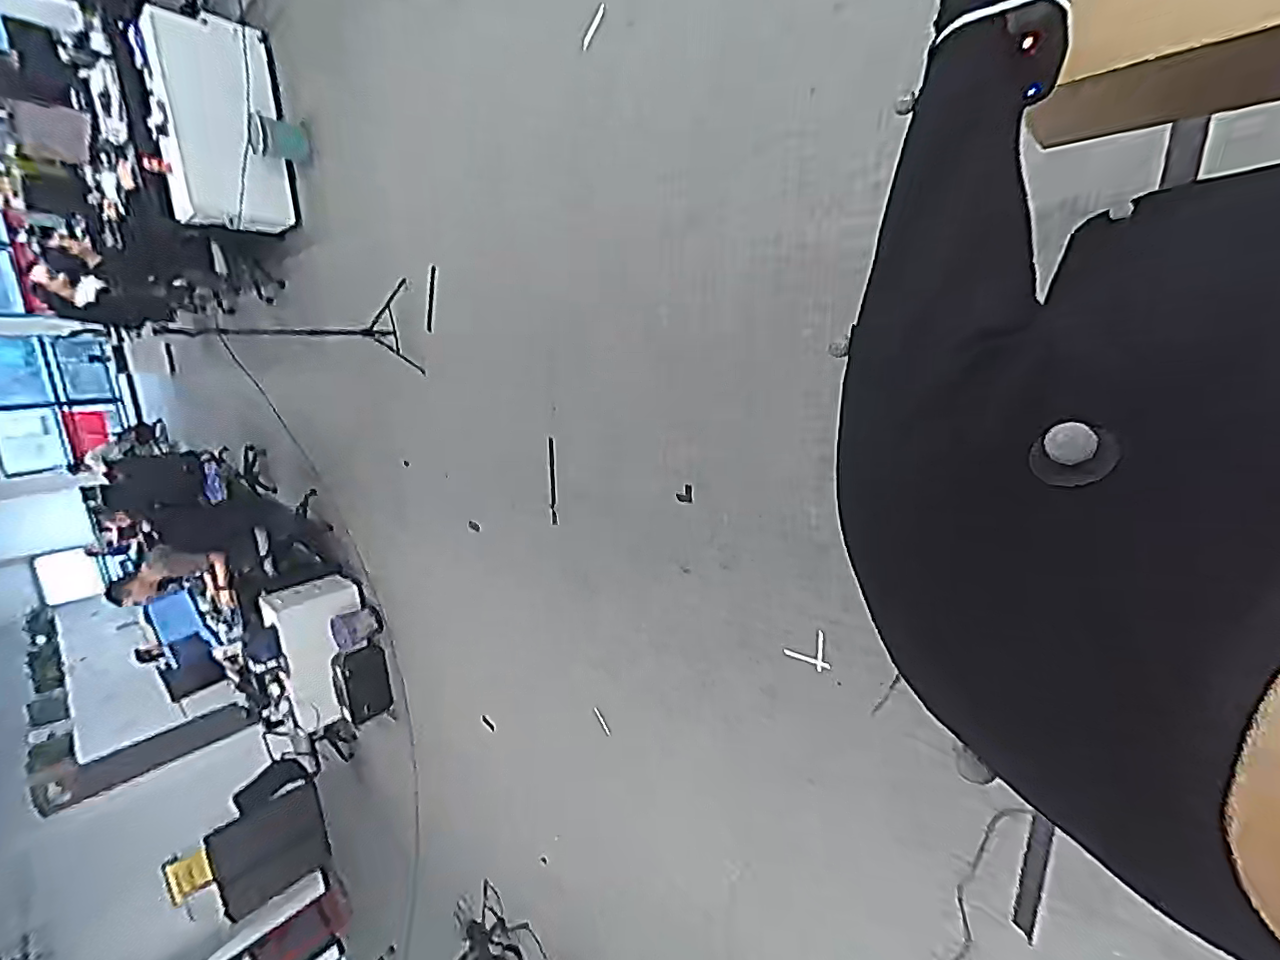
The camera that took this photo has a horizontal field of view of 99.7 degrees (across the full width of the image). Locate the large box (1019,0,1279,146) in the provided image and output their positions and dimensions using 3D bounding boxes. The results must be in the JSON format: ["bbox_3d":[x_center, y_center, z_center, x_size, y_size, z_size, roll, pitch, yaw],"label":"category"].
[{"bbox_3d":[0.566,-0.510,0.423,0.408,0.320,0.320,9,113,39],"label":"large box"}]
